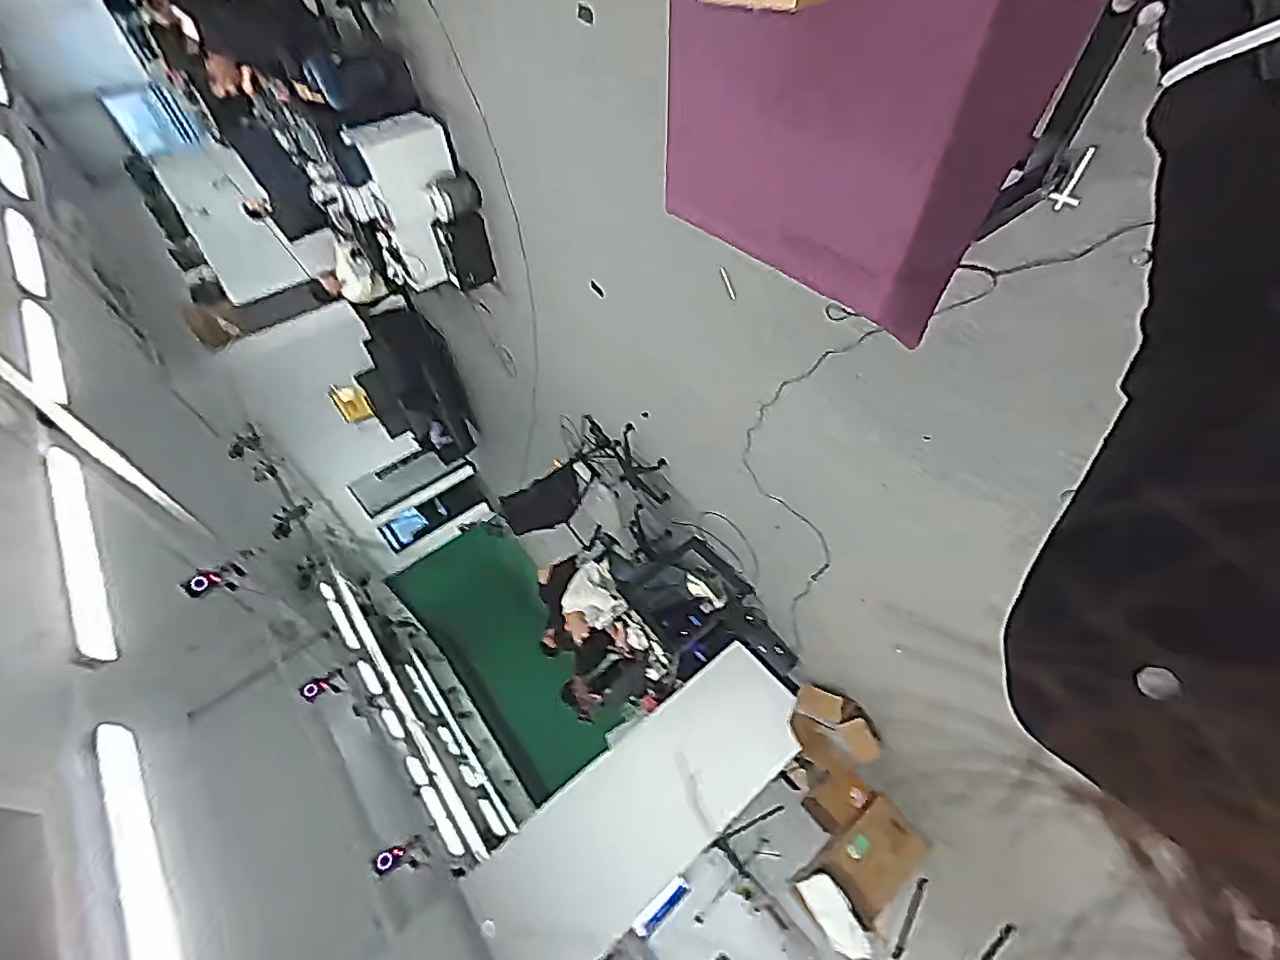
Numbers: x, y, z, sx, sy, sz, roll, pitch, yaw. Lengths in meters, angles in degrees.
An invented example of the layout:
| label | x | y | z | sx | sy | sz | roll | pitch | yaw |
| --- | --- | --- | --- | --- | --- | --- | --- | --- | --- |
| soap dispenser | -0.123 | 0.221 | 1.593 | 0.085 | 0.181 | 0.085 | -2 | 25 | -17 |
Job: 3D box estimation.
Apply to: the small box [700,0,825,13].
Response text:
| label | x | y | z | sx | sy | sz | roll | pitch | yaw |
| --- | --- | --- | --- | --- | --- | --- | --- | --- | --- |
| small box | 0.197 | -0.737 | 0.705 | 0.179 | 0.176 | 0.168 | 40 | 153 | 32 |
